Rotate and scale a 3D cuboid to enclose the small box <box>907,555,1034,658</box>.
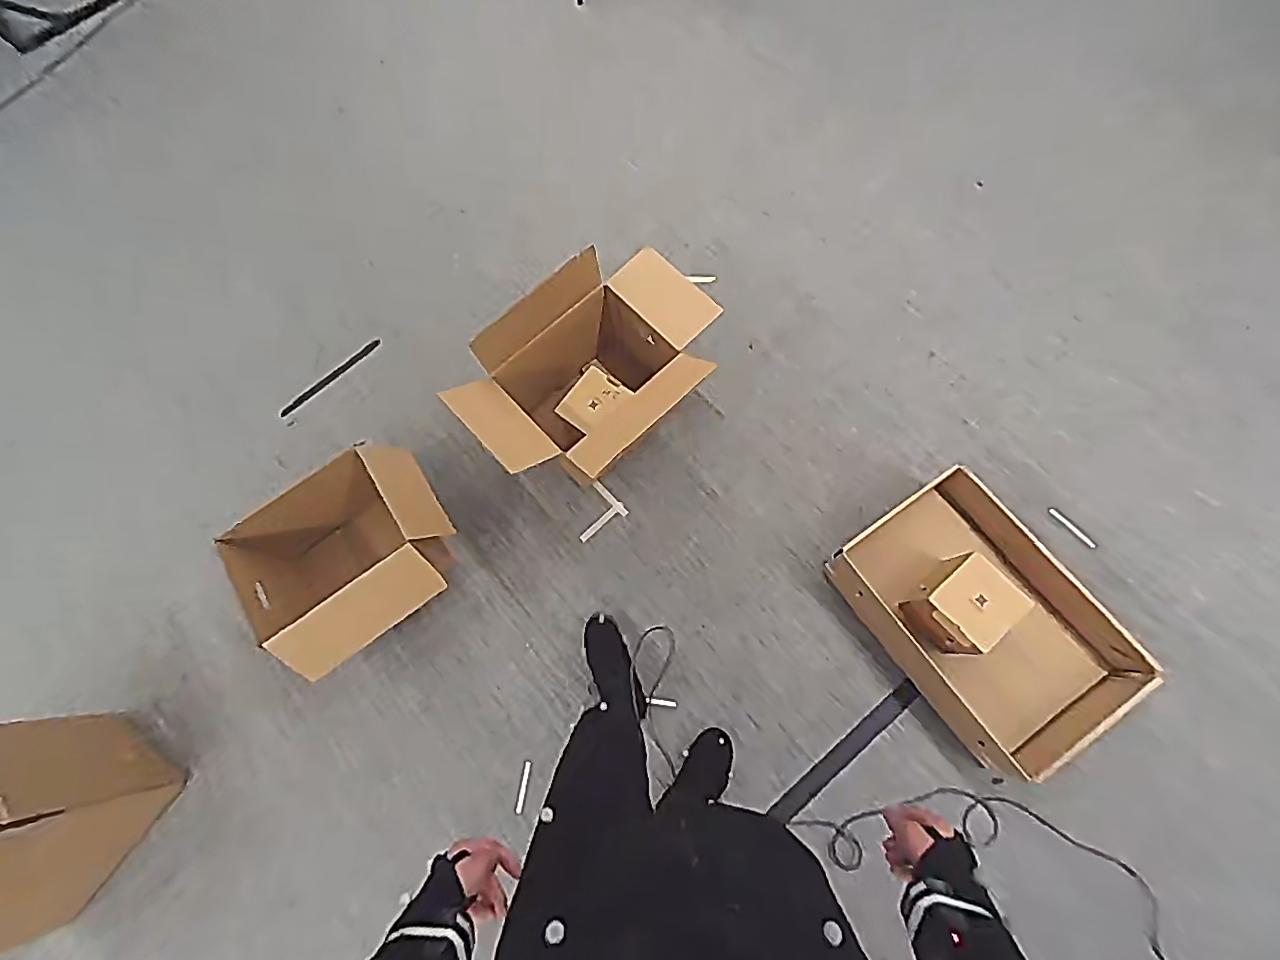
[{"bbox_3d":[0.778,0.308,1.301,0.179,0.176,0.168,-39,75,-8],"label":"small box"}]
